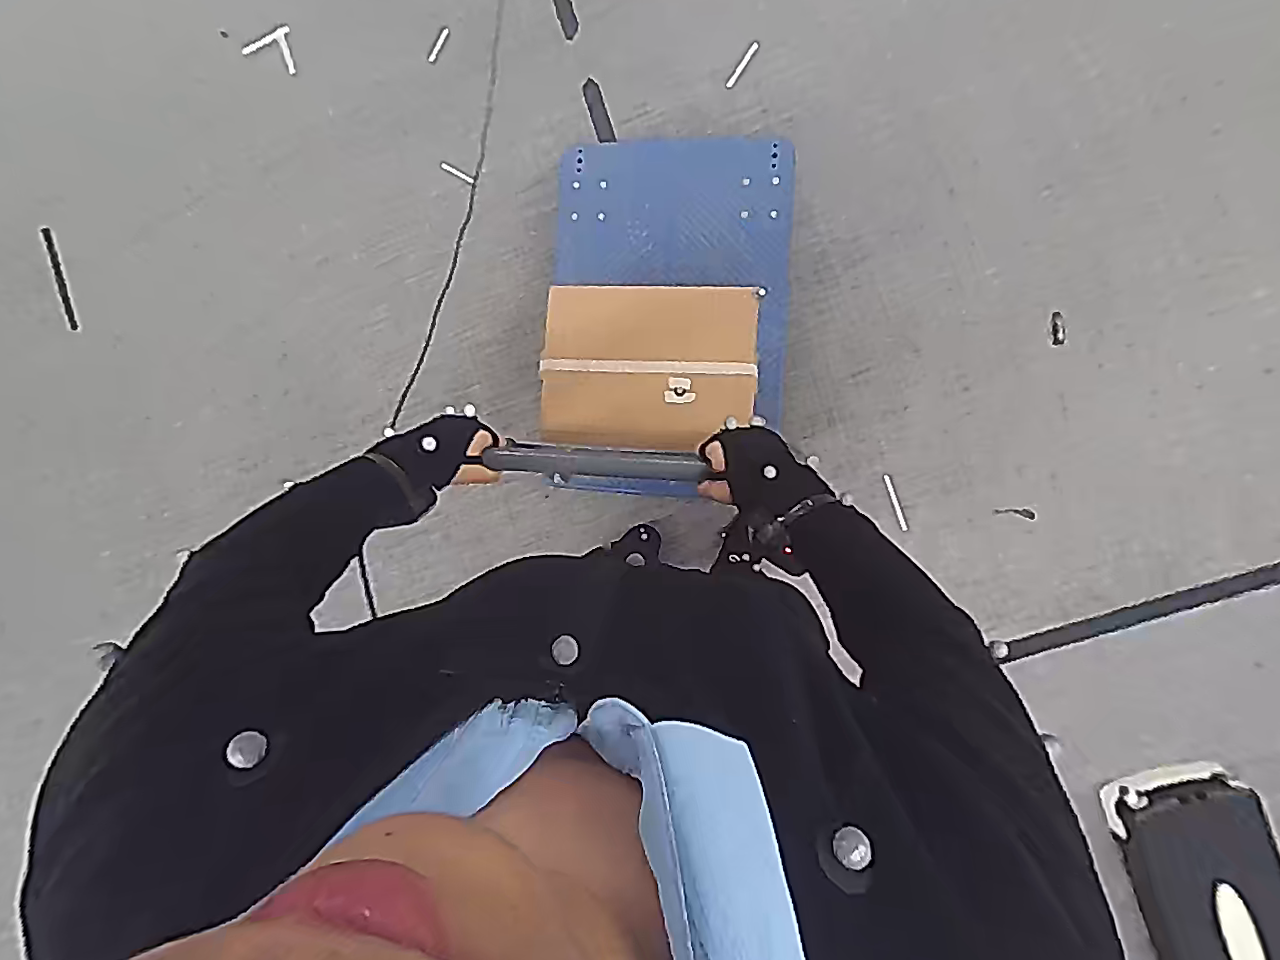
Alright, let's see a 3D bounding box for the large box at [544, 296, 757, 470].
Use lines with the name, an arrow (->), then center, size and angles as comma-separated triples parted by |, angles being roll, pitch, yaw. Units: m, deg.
large box -> 0.031, -0.188, 1.168 | 0.408, 0.320, 0.320 | 2, 88, 7
